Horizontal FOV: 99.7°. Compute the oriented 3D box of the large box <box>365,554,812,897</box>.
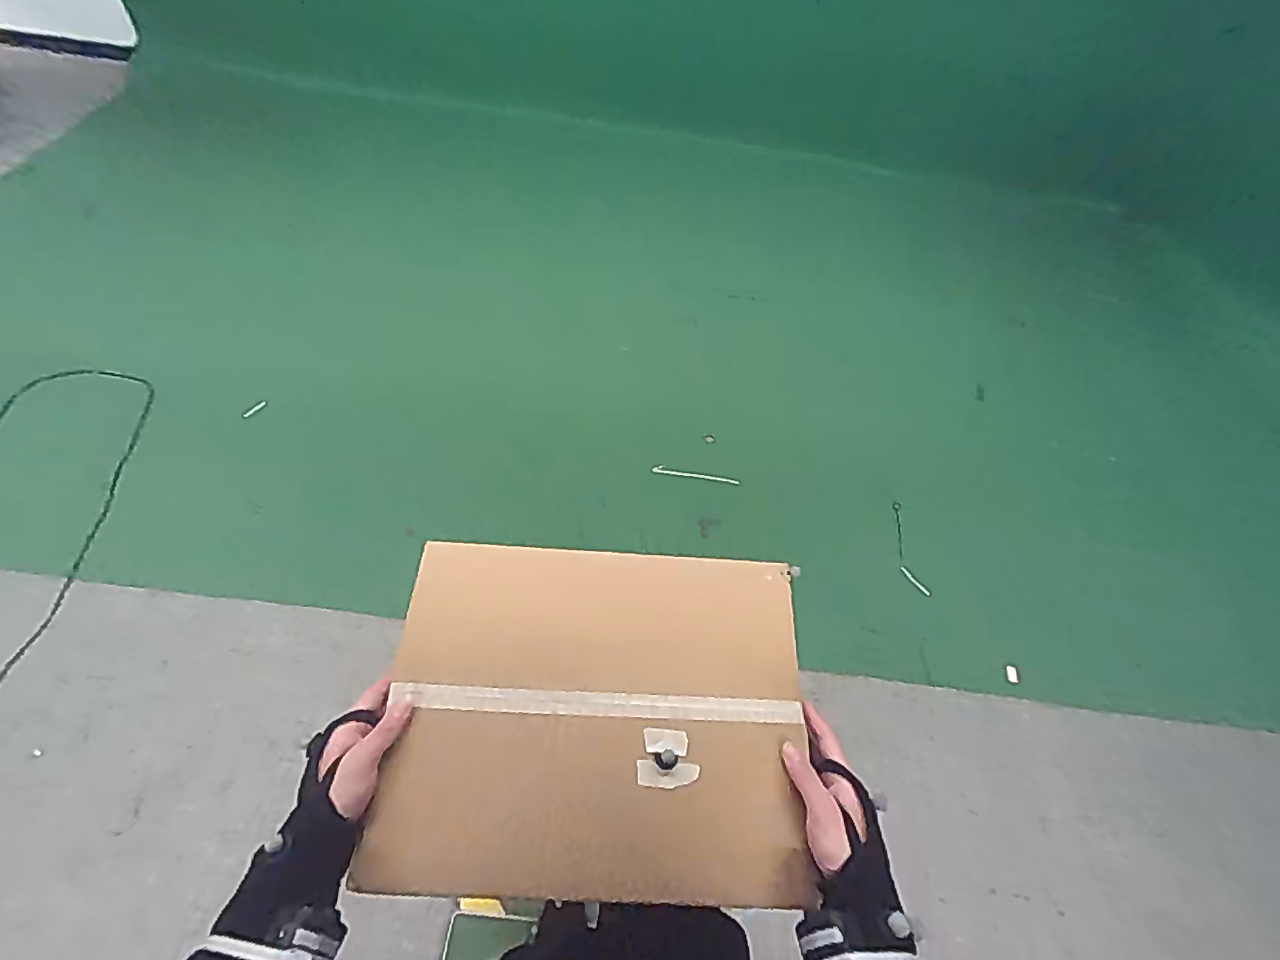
[{"bbox_3d":[-0.051,0.298,0.674,0.408,0.320,0.320,4,62,-3],"label":"large box"}]
